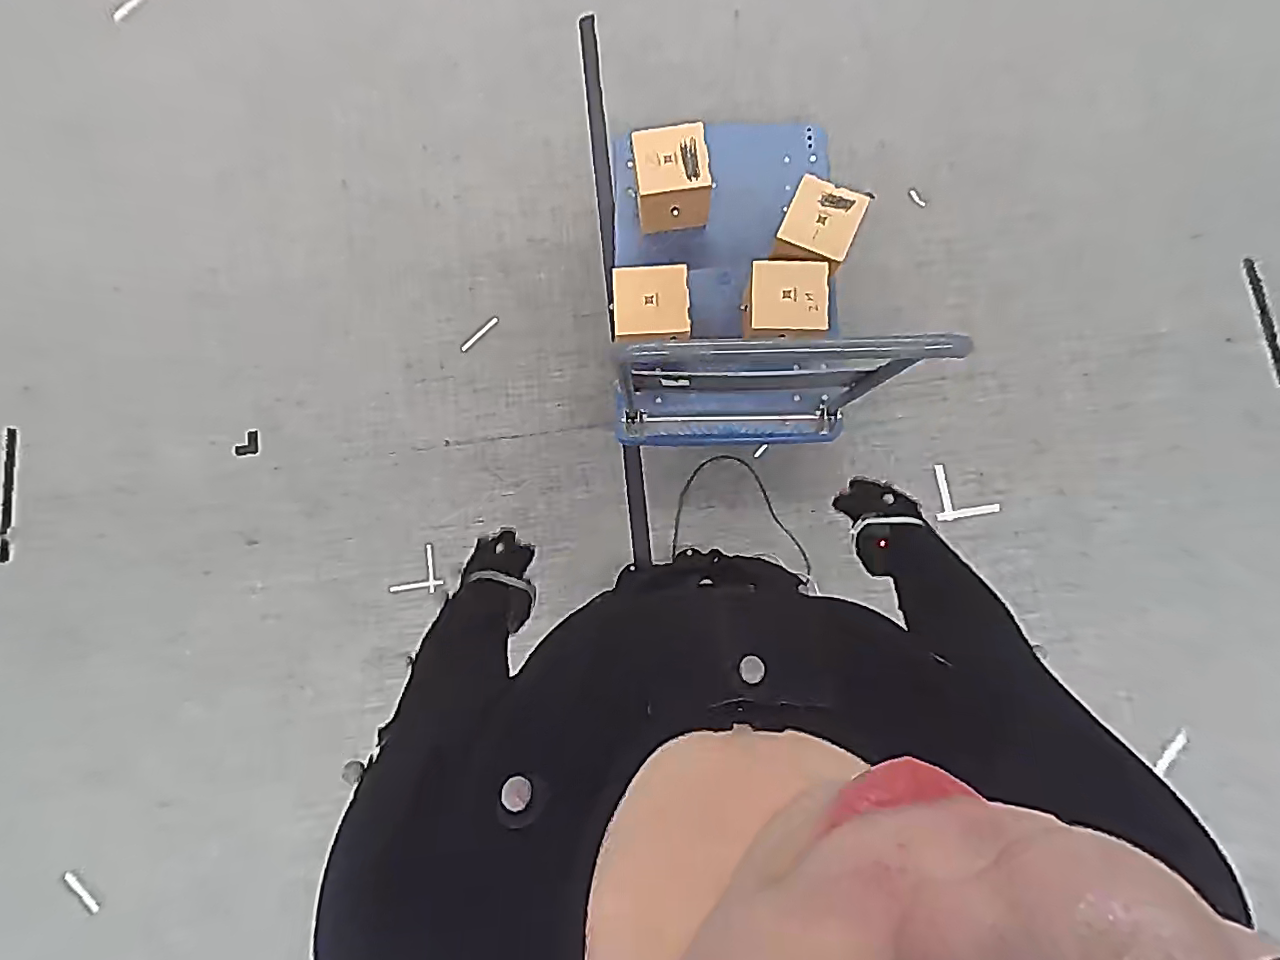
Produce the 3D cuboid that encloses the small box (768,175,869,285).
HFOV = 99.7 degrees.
[{"bbox_3d":[0.427,-0.596,1.331,0.168,0.176,0.179,24,85,5],"label":"small box"}]

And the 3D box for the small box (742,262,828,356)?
[{"bbox_3d":[0.344,-0.409,1.312,0.179,0.176,0.168,3,84,3],"label":"small box"}]

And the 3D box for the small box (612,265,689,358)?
[{"bbox_3d":[0.027,-0.405,1.327,0.179,0.176,0.168,-3,83,1],"label":"small box"}]
